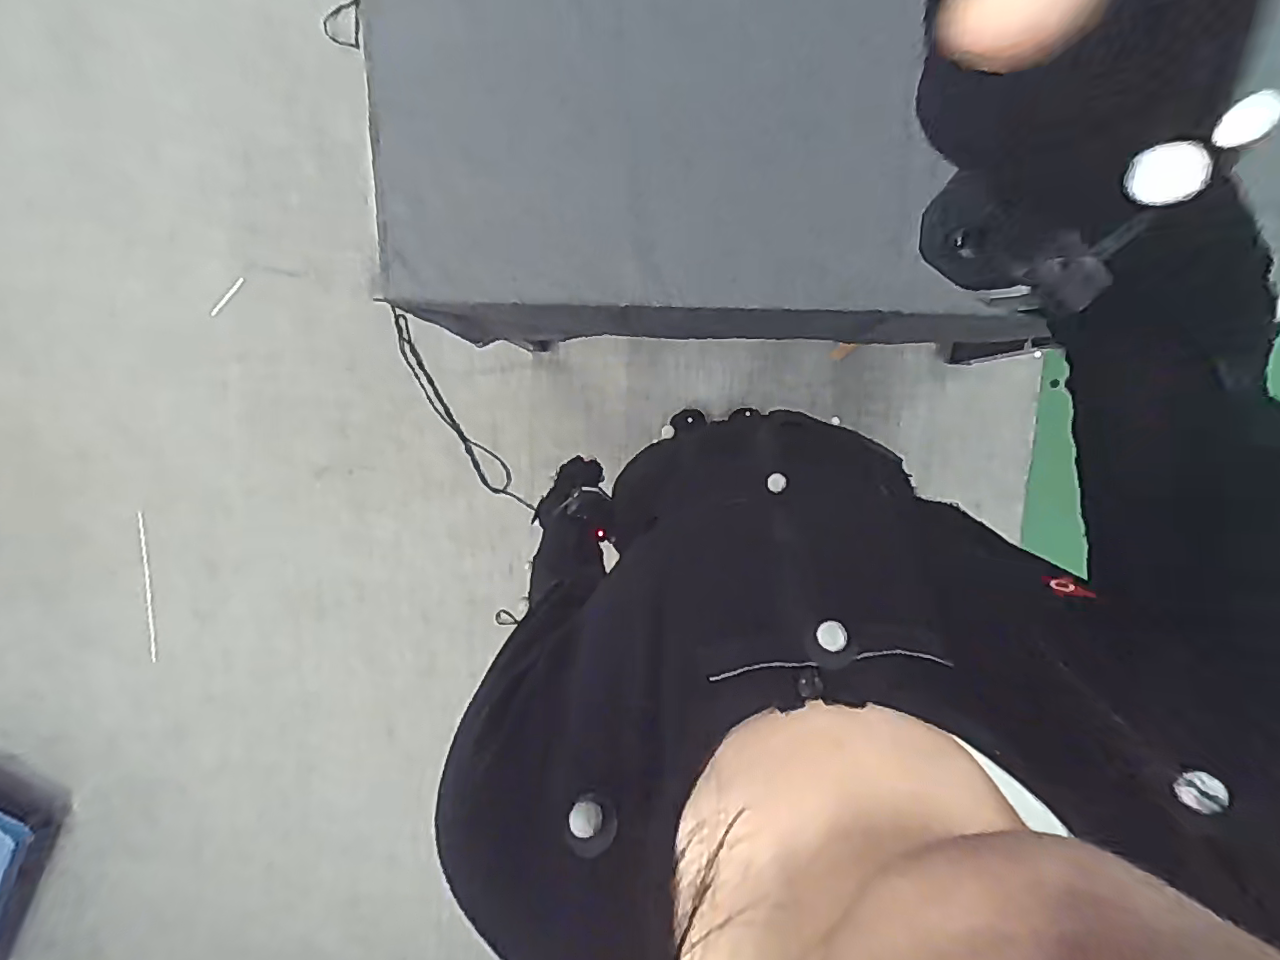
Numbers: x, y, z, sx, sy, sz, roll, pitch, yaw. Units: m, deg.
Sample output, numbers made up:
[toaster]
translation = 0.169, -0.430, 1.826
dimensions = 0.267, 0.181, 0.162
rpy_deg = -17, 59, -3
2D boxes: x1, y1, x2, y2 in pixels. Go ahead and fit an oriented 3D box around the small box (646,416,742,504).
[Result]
[small box]
translation = 0.136, -0.056, 1.422
dimensions = 0.179, 0.176, 0.168
rpy_deg = 43, 110, 16
